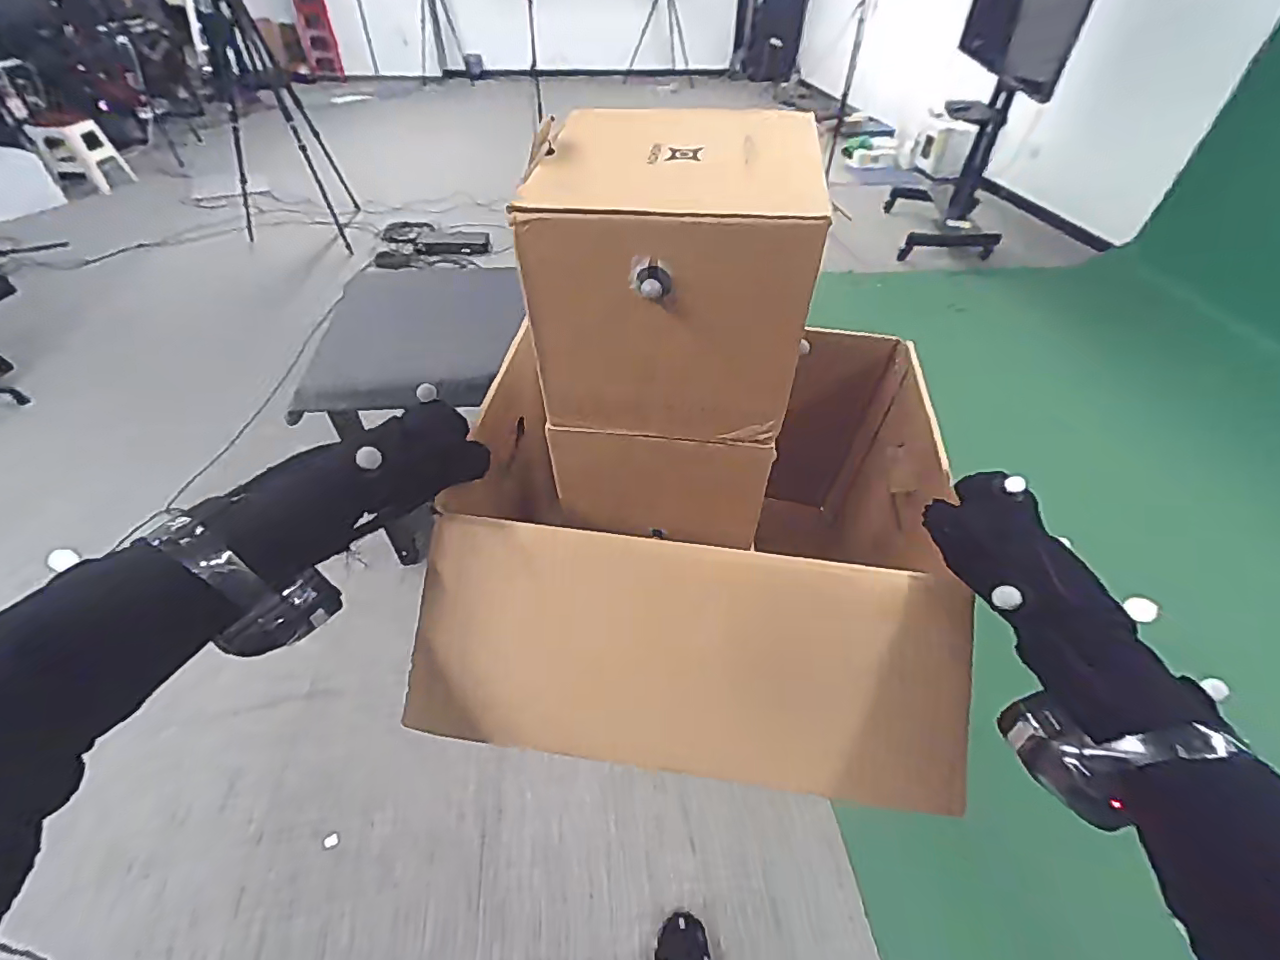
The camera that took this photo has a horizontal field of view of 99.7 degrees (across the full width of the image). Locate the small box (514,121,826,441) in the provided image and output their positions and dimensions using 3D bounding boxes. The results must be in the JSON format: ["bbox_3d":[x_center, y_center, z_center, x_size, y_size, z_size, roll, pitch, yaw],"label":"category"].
[{"bbox_3d":[0.025,-0.146,0.406,0.179,0.176,0.168,5,51,5],"label":"small box"}]
